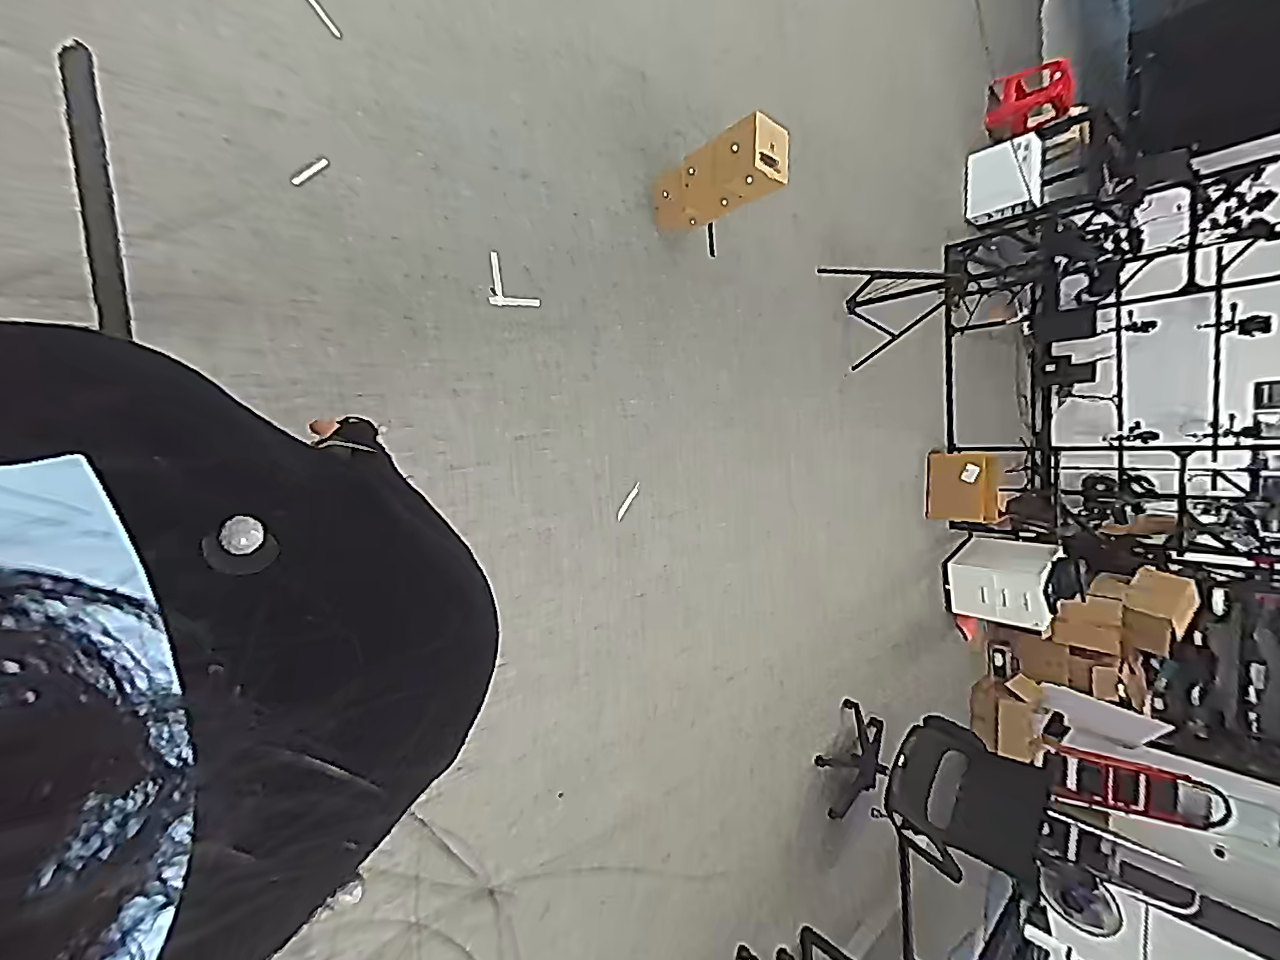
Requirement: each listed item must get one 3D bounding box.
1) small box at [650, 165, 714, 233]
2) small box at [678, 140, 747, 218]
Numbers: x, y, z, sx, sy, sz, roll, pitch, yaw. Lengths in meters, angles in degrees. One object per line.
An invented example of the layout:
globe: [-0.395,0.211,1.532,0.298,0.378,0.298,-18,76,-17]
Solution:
small box: [0.151,-1.042,2.018,0.179,0.176,0.168,-12,100,-40]
small box: [0.253,-1.042,1.891,0.179,0.176,0.168,-3,93,-40]
